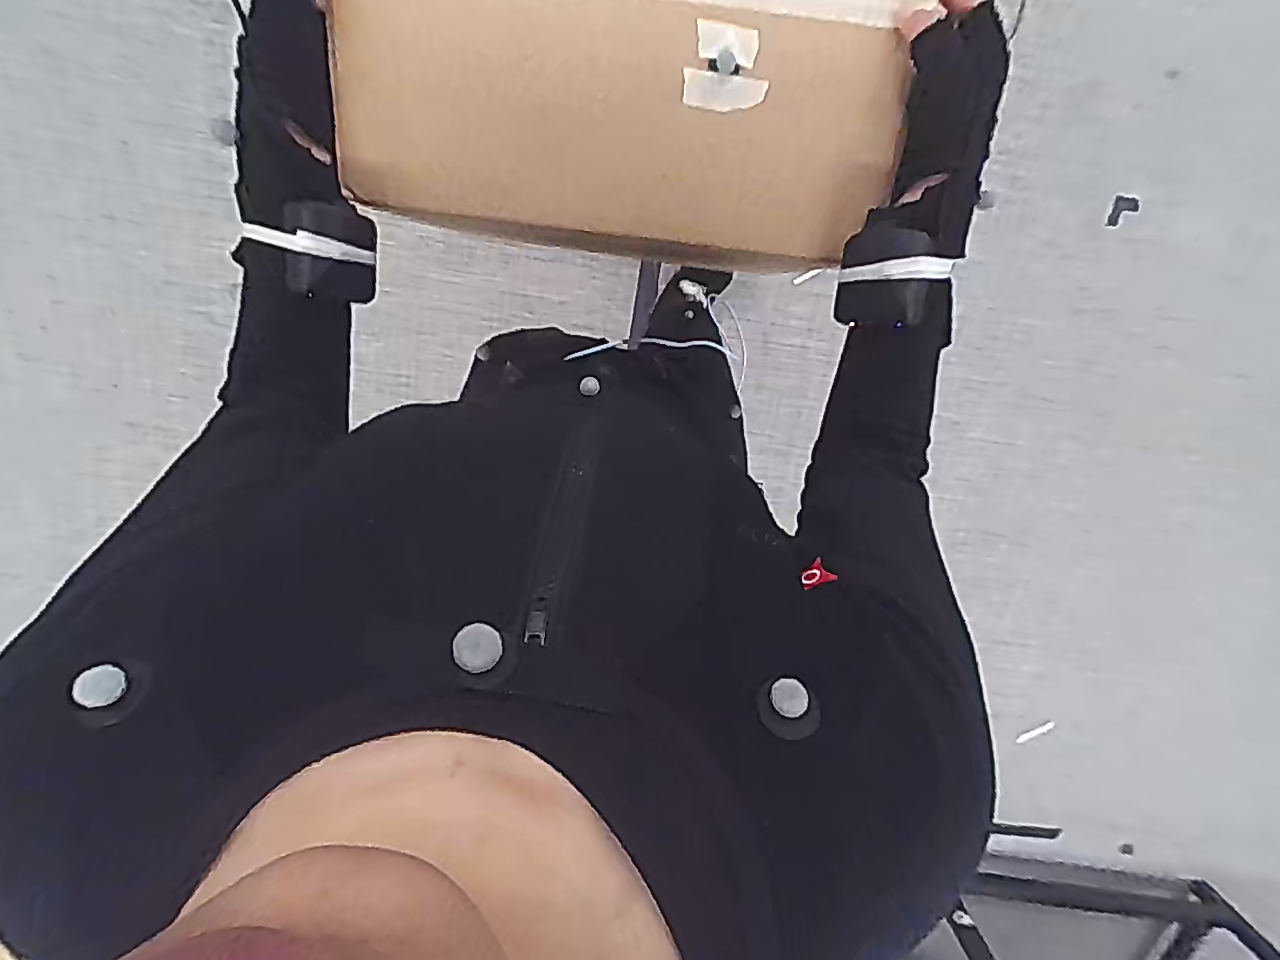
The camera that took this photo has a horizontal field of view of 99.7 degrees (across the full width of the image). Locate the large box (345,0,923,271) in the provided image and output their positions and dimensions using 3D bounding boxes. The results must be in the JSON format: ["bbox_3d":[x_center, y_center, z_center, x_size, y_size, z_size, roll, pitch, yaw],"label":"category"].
[{"bbox_3d":[-0.007,-0.384,0.511,0.408,0.320,0.320,5,110,-4],"label":"large box"}]
